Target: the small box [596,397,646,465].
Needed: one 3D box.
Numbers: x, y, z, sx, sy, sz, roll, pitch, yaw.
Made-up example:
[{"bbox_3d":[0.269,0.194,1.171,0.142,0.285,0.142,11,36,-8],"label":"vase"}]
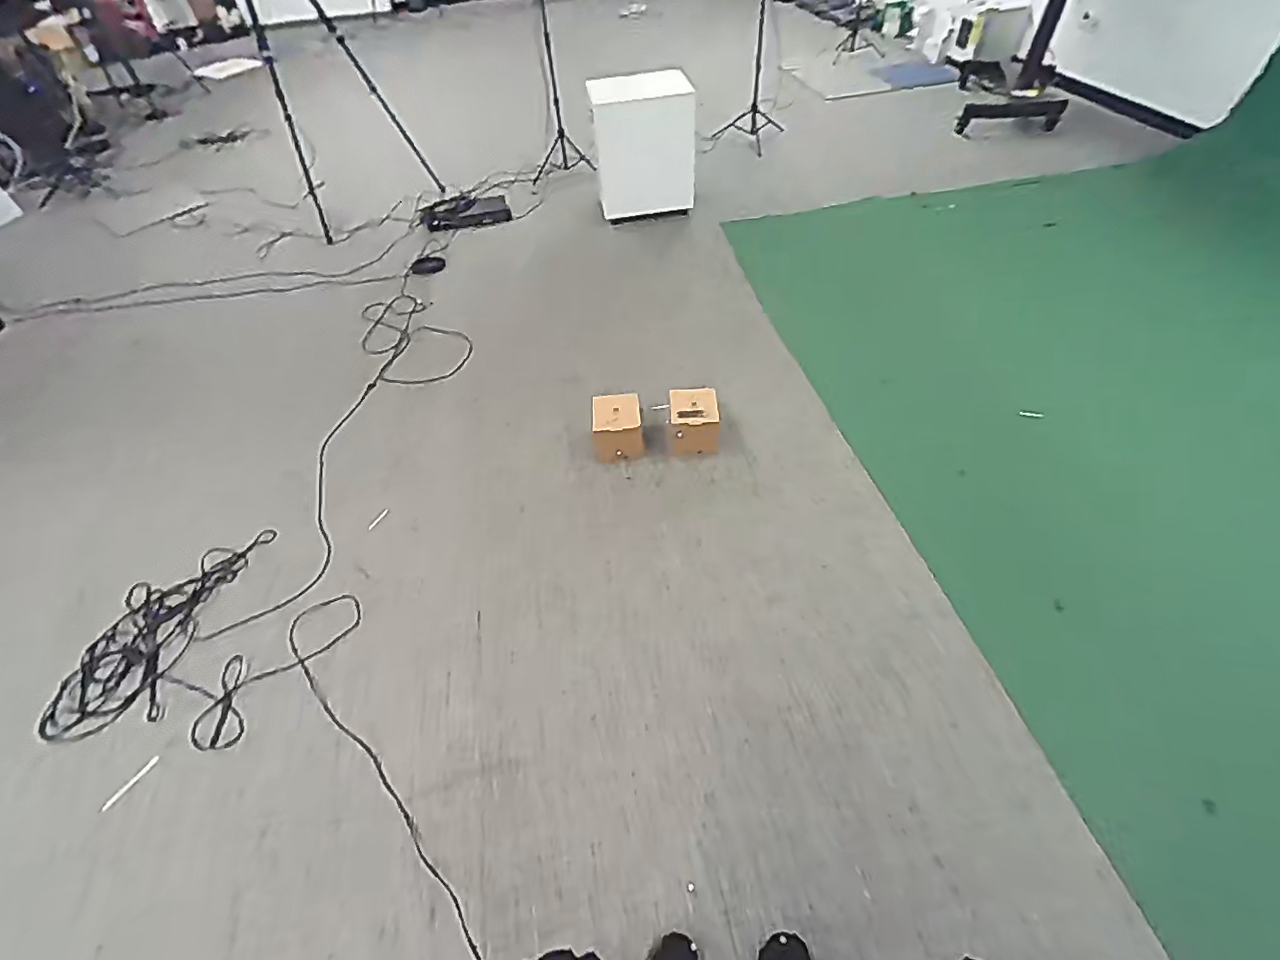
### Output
[{"bbox_3d":[-0.067,-0.175,1.949,0.168,0.176,0.179,-5,51,1],"label":"small box"}]
